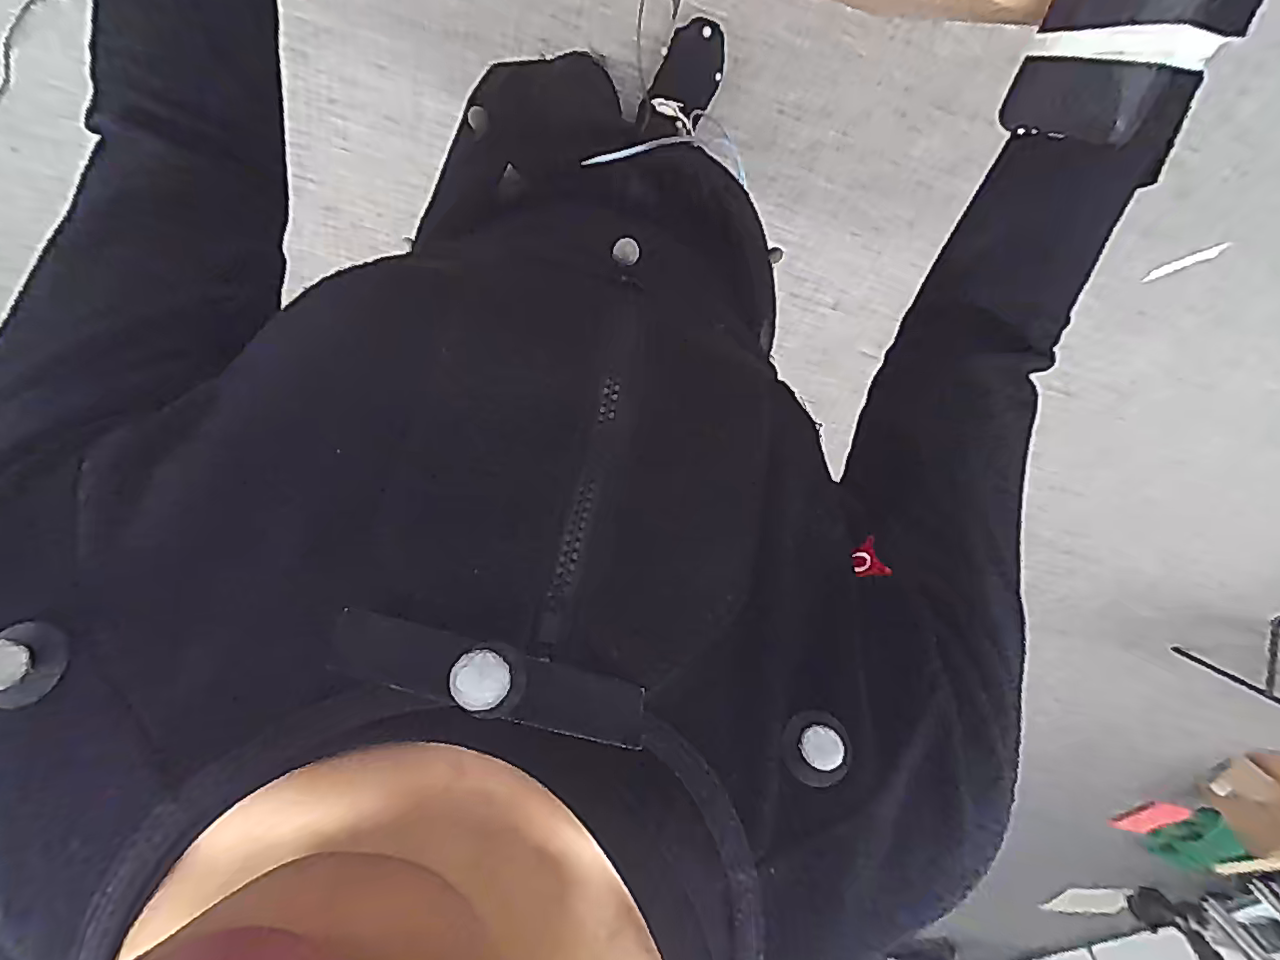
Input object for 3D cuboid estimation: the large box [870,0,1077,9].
[{"bbox_3d":[0.072,-0.490,0.271,0.408,0.320,0.320,11,132,-8],"label":"large box"}]
